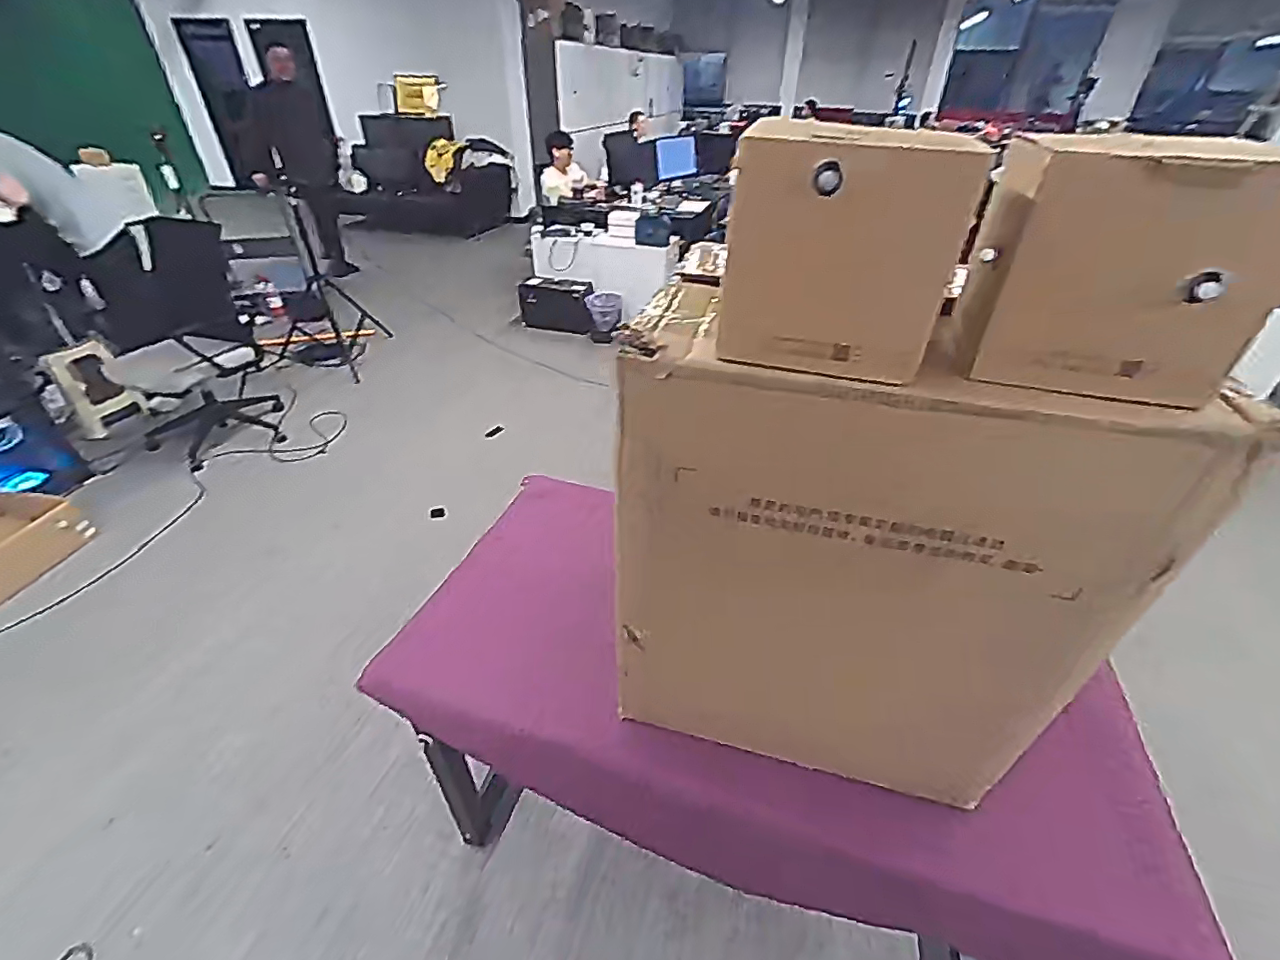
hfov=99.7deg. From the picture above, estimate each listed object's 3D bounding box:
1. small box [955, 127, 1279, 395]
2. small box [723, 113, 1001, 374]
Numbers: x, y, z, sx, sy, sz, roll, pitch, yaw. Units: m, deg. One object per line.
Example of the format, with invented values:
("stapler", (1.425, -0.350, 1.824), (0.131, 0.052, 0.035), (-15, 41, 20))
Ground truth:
("small box", (0.381, -0.186, 0.444), (0.168, 0.176, 0.179), (13, 37, 16))
("small box", (0.171, -0.211, 0.469), (0.168, 0.176, 0.179), (11, 36, 12))
